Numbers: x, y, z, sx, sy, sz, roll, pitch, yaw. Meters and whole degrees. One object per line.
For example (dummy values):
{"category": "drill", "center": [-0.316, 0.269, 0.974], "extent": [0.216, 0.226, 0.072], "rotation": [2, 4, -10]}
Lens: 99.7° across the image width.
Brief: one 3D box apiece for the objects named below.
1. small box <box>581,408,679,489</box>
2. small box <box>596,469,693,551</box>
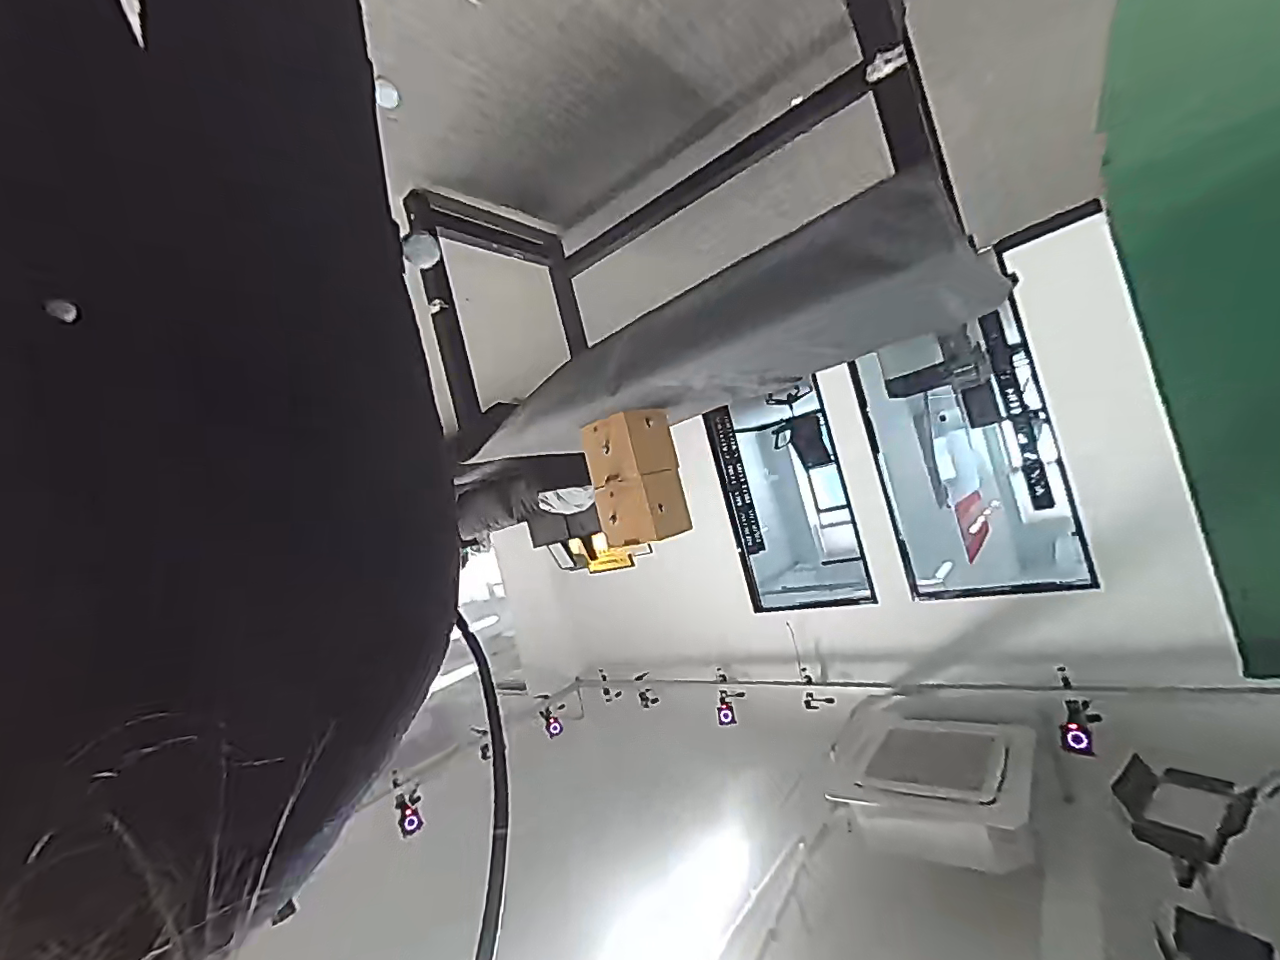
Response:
{"category": "small box", "center": [-0.029, -0.085, 1.412], "extent": [0.168, 0.176, 0.179], "rotation": [-16, 177, 39]}
{"category": "small box", "center": [0.009, 0.074, 1.408], "extent": [0.168, 0.176, 0.179], "rotation": [-15, 178, 36]}
